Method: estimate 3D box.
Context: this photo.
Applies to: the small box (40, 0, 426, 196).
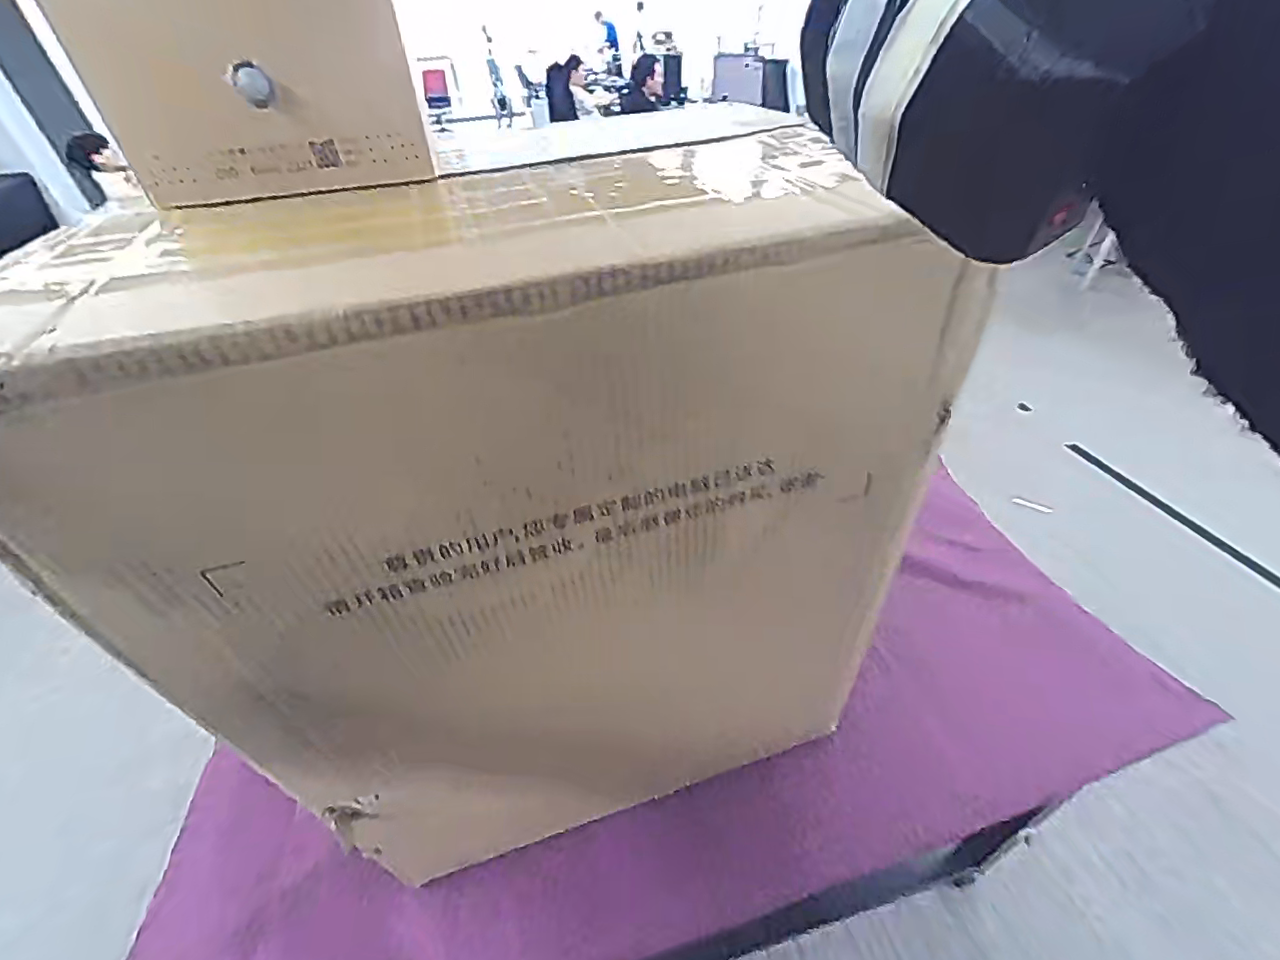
[{"bbox_3d":[-0.245,-0.293,0.344,0.168,0.176,0.179,-14,41,-11],"label":"small box"}]
